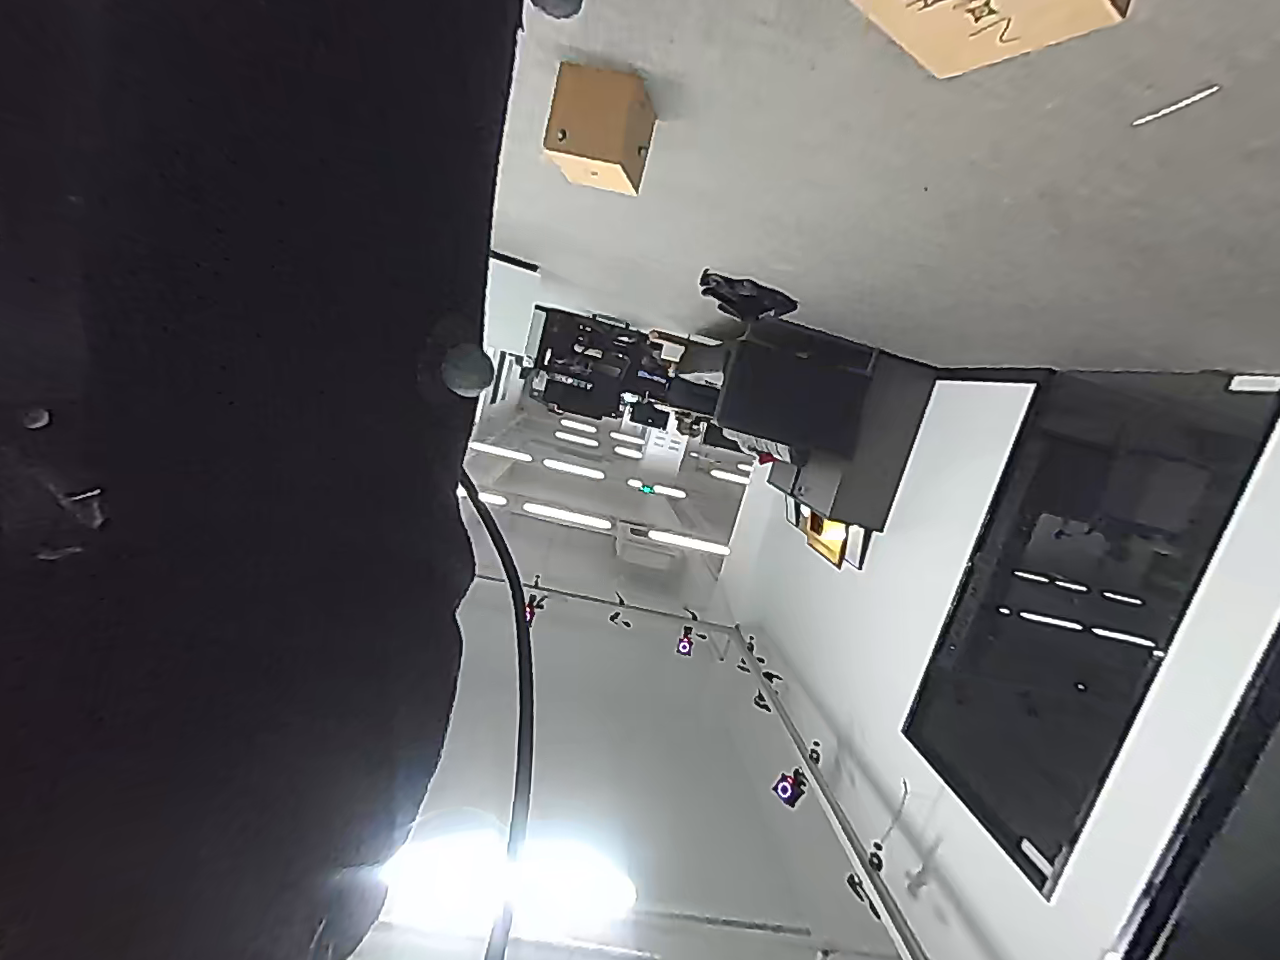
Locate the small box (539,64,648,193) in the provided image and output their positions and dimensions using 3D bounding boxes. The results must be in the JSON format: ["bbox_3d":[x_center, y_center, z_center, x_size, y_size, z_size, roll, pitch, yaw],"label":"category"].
[{"bbox_3d":[-0.091,-0.748,1.158,0.179,0.176,0.168,18,-169,10],"label":"small box"}]
